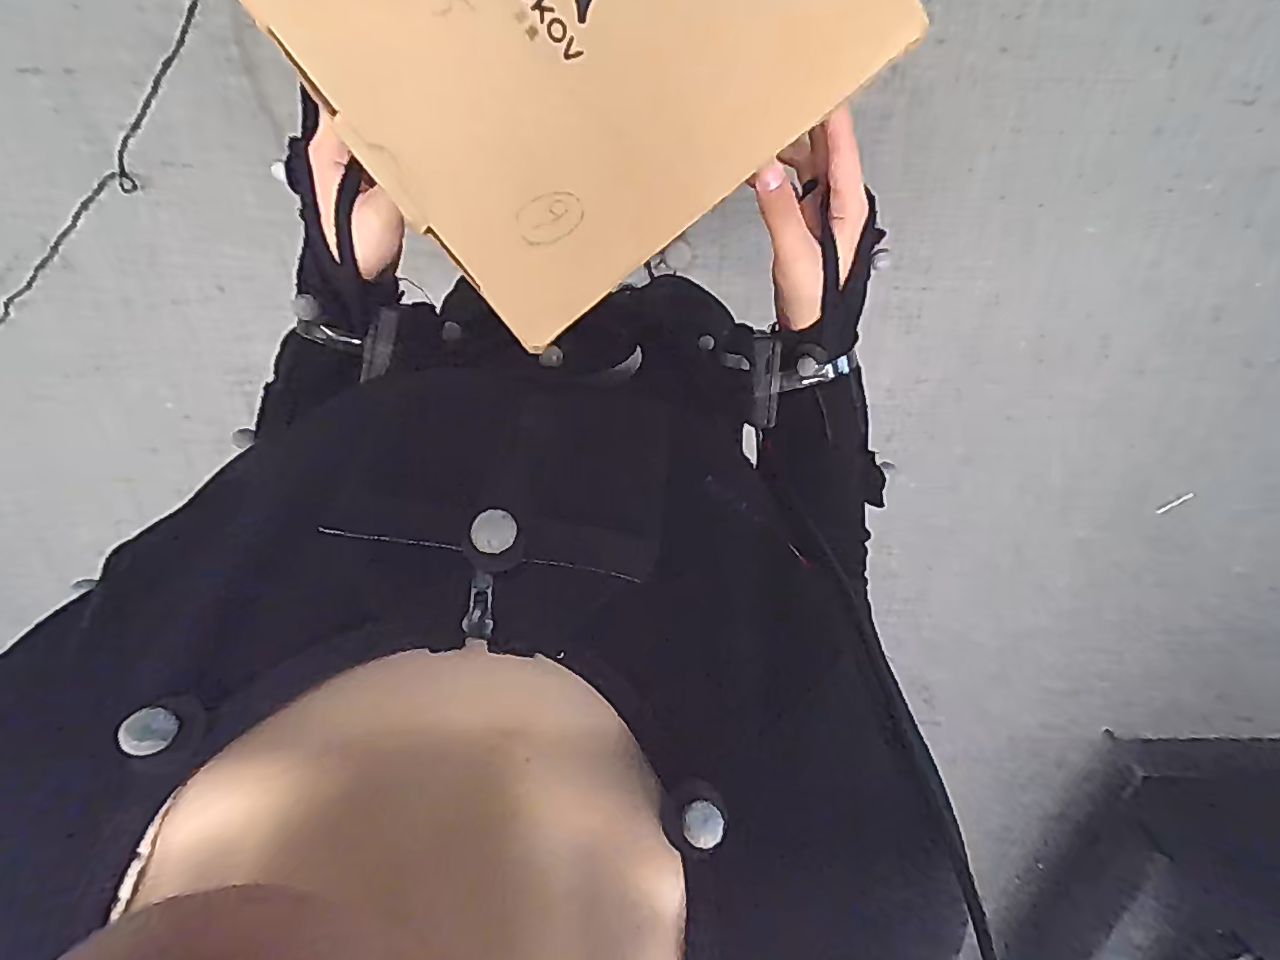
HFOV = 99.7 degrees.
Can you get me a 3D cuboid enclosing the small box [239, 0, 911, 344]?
[{"bbox_3d":[-0.023,-0.189,0.249,0.179,0.176,0.168,-35,107,15],"label":"small box"}]
